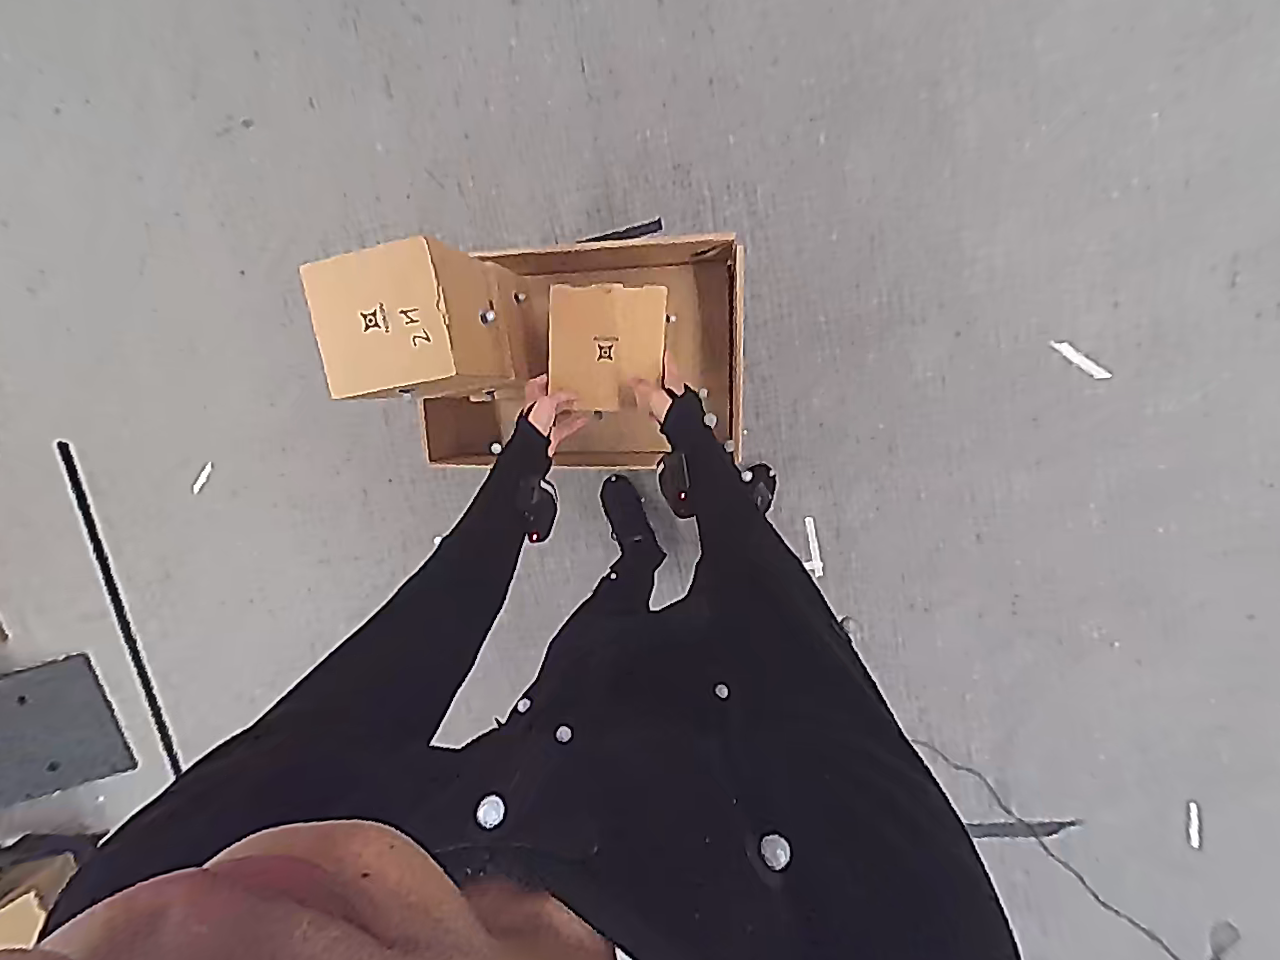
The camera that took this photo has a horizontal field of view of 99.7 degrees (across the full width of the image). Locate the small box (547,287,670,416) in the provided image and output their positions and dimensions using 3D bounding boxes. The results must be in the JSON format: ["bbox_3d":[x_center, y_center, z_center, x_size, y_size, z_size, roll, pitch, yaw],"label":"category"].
[{"bbox_3d":[-0.041,-0.190,0.836,0.168,0.176,0.179,2,96,6],"label":"small box"}]

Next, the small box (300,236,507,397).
[{"bbox_3d":[-0.304,-0.205,0.728,0.179,0.176,0.168,-8,99,10],"label":"small box"}]
